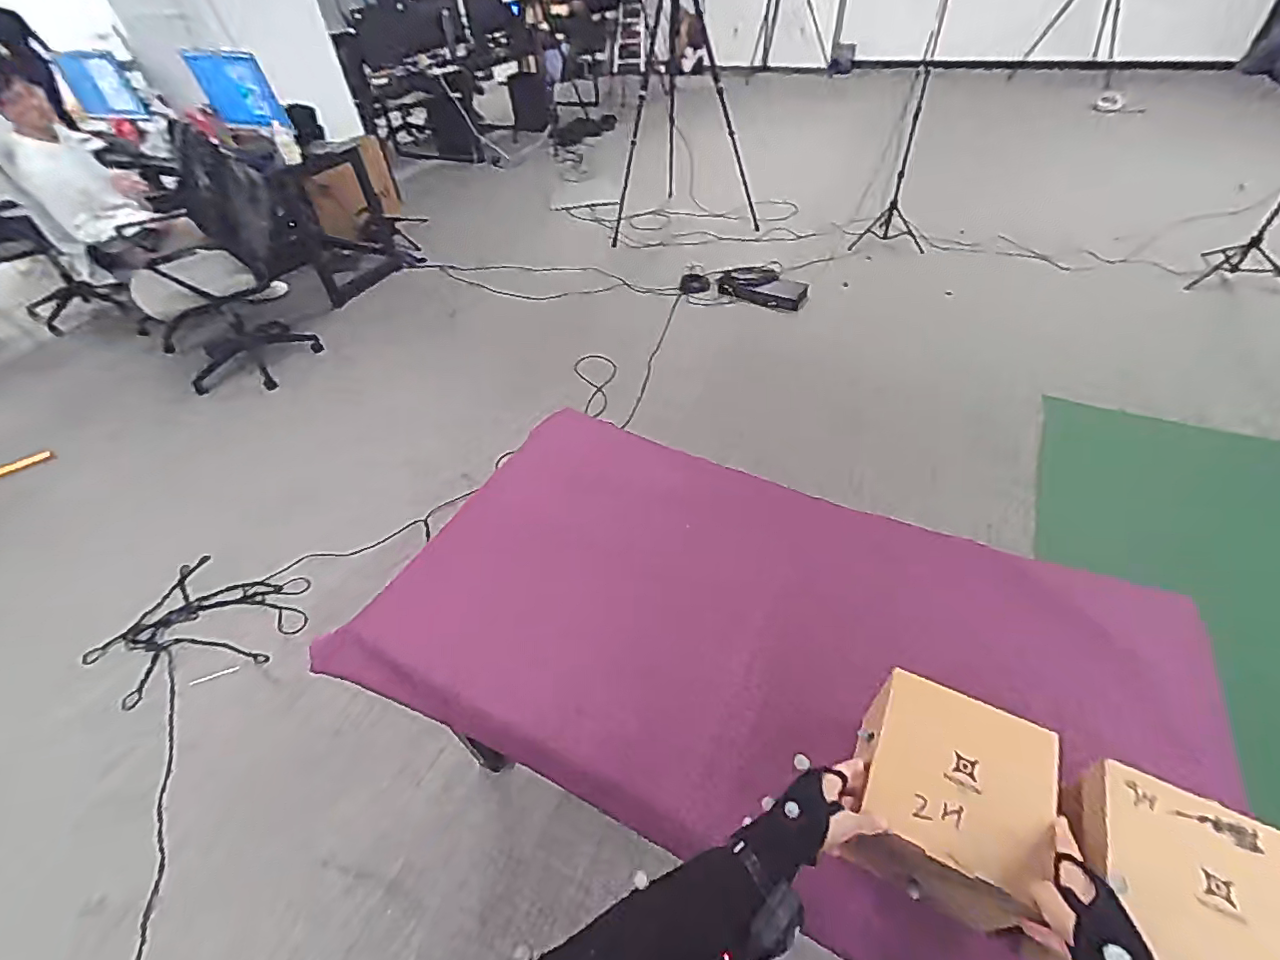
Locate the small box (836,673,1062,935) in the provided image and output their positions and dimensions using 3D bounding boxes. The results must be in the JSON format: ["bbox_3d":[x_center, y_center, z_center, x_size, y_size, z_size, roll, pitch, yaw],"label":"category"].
[{"bbox_3d":[0.332,0.358,0.602,0.168,0.176,0.179,19,52,23],"label":"small box"}]
